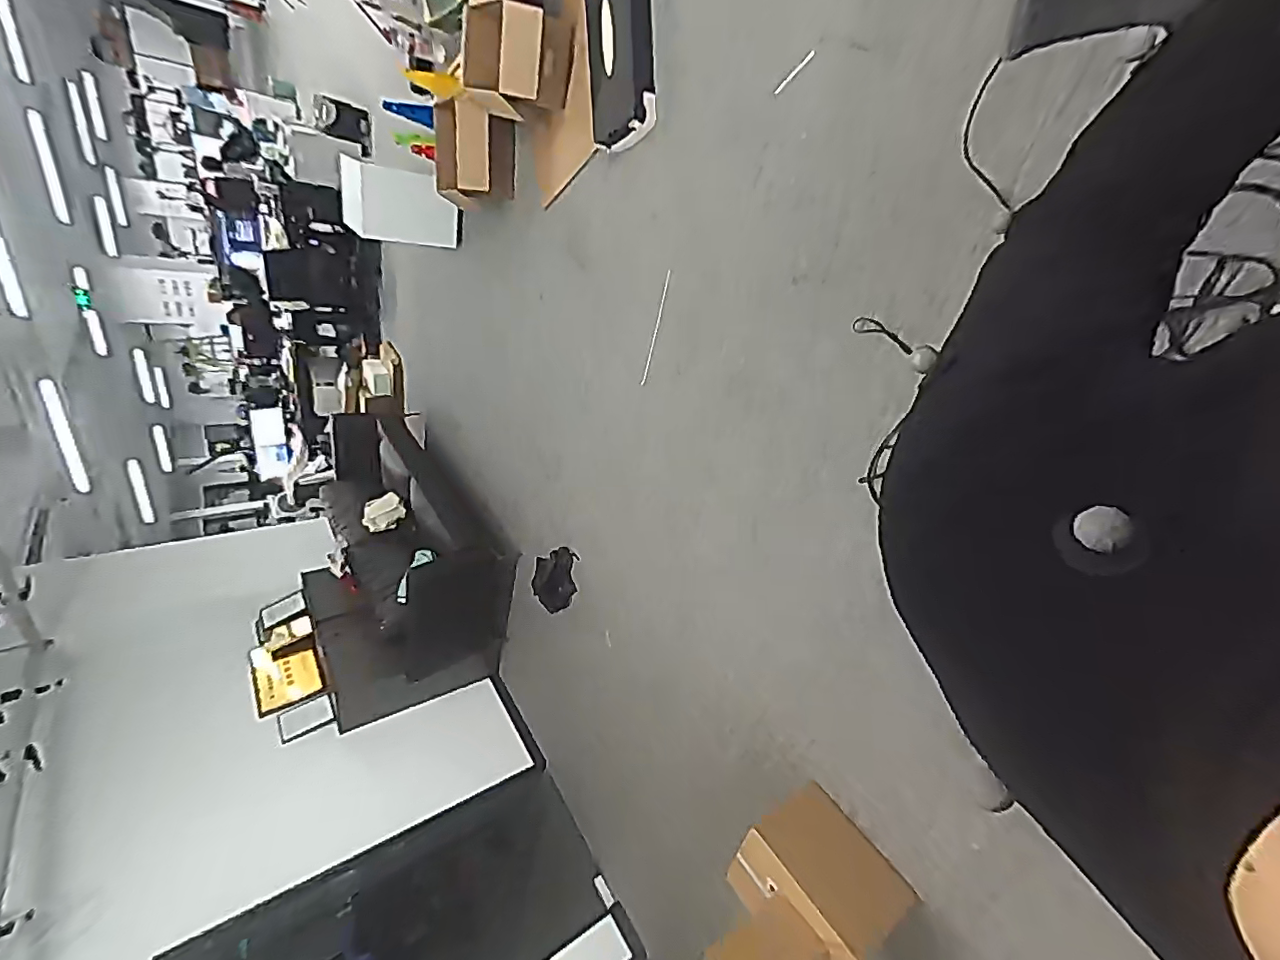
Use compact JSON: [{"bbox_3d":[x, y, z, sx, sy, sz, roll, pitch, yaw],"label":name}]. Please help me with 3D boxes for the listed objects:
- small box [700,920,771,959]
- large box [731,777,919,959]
[{"bbox_3d":[0.259,1.327,1.422,0.179,0.176,0.168,41,129,42],"label":"small box"},{"bbox_3d":[0.562,1.247,1.686,0.408,0.320,0.320,42,129,42],"label":"large box"}]
